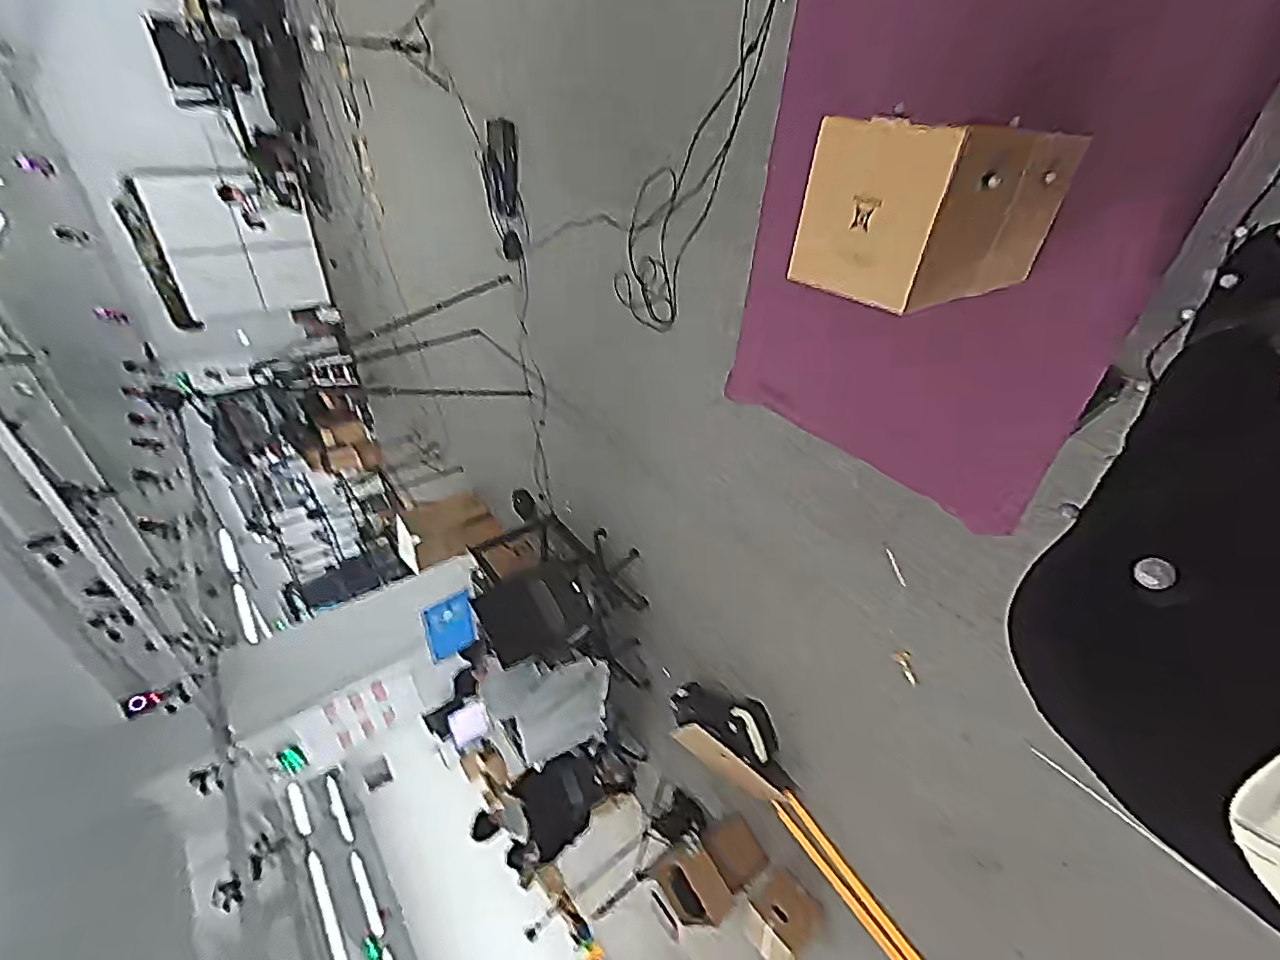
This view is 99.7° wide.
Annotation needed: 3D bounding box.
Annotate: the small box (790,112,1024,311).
[{"bbox_3d":[0.313,-0.323,0.642,0.168,0.176,0.179,40,139,38],"label":"small box"}]
